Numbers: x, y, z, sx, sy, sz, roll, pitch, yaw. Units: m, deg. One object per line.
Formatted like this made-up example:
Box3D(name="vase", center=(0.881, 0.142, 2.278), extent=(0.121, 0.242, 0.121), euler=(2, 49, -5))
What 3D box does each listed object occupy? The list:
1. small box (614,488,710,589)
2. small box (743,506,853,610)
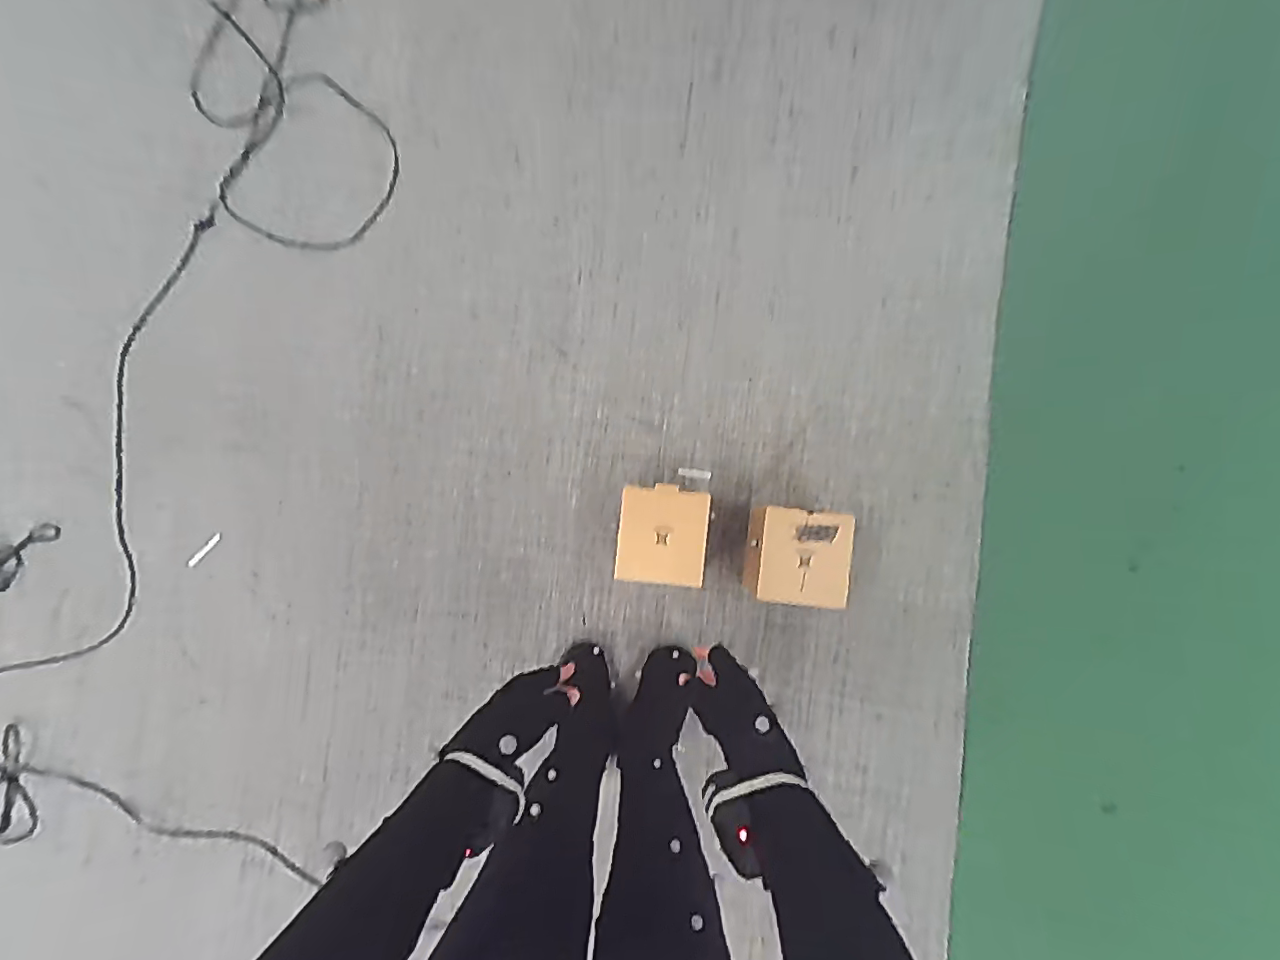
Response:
Box3D(name="small box", center=(0.043, 0.111, 1.079), extent=(0.168, 0.176, 0.179), euler=(5, 87, 2))
Box3D(name="small box", center=(0.304, 0.147, 1.070), extent=(0.168, 0.176, 0.179), euler=(6, 88, 2))
